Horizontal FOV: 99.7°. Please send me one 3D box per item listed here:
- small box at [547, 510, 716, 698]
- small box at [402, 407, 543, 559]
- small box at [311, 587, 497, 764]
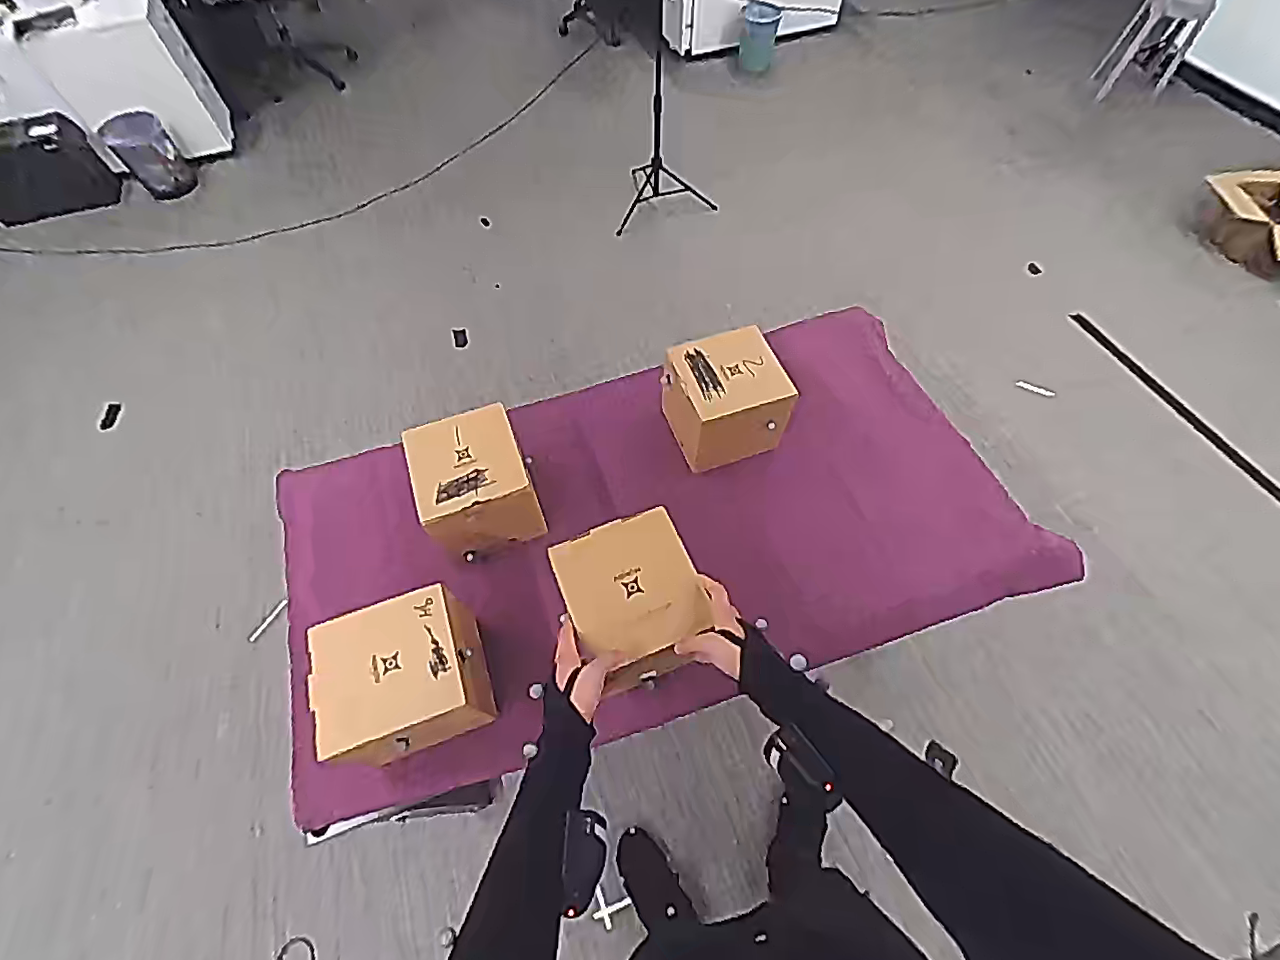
[{"bbox_3d":[-0.016,0.174,0.740,0.168,0.176,0.179,-20,62,-11],"label":"small box"},{"bbox_3d":[-0.271,0.015,0.899,0.168,0.176,0.179,-19,61,-10],"label":"small box"},{"bbox_3d":[-0.317,0.275,0.746,0.179,0.176,0.168,-19,62,-9],"label":"small box"}]
